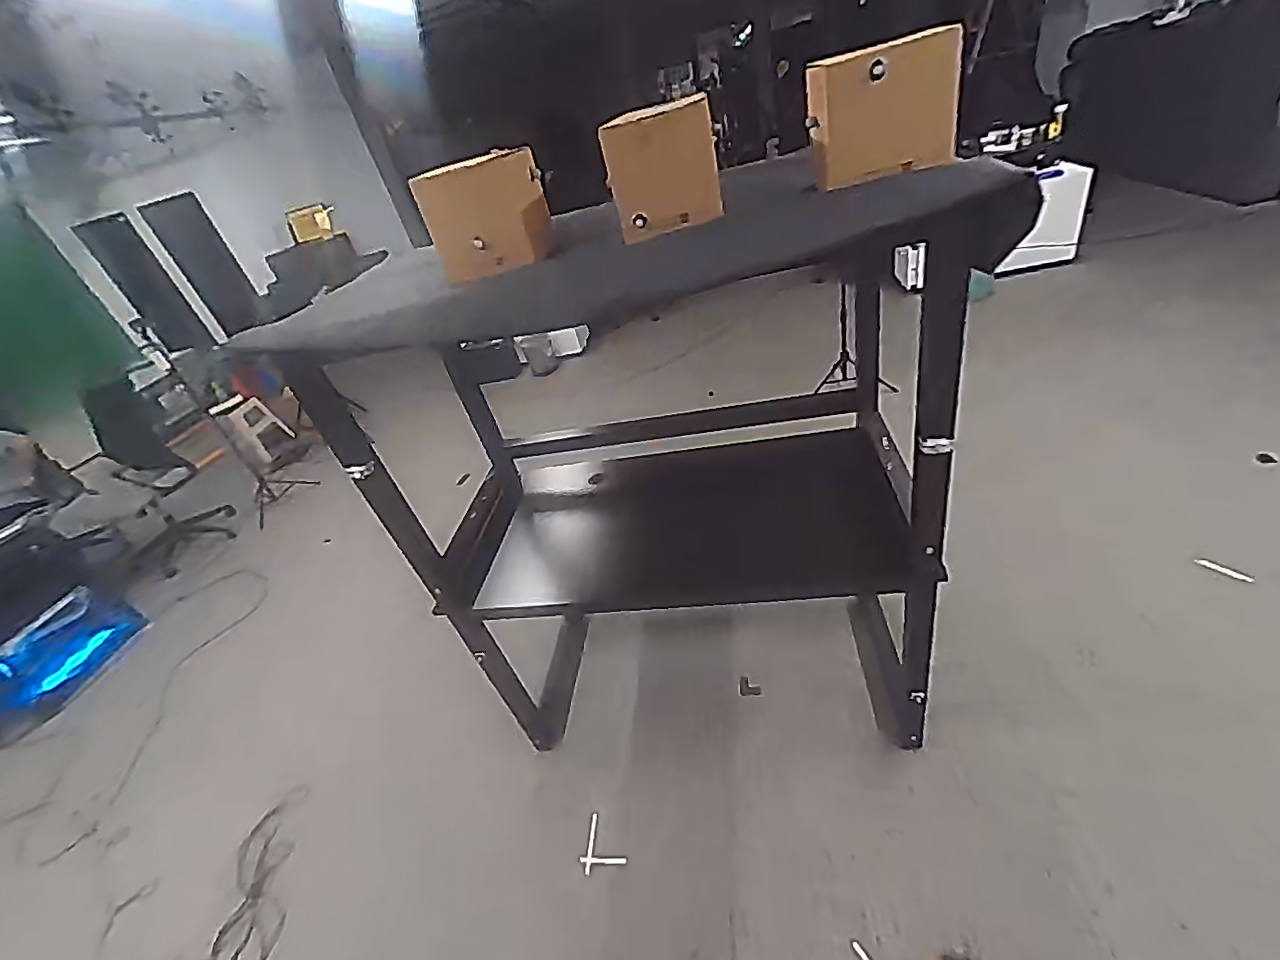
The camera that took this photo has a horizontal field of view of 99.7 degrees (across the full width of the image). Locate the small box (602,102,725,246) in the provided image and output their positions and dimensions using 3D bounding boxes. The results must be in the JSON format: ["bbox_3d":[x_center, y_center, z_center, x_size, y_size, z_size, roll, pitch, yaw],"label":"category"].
[{"bbox_3d":[0.047,-0.503,0.898,0.168,0.176,0.179,-8,34,11],"label":"small box"}]

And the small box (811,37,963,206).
[{"bbox_3d":[0.351,-0.521,0.800,0.168,0.176,0.179,-8,34,13],"label":"small box"}]

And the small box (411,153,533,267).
[{"bbox_3d":[-0.346,-0.578,1.161,0.179,0.176,0.168,-8,35,10],"label":"small box"}]
